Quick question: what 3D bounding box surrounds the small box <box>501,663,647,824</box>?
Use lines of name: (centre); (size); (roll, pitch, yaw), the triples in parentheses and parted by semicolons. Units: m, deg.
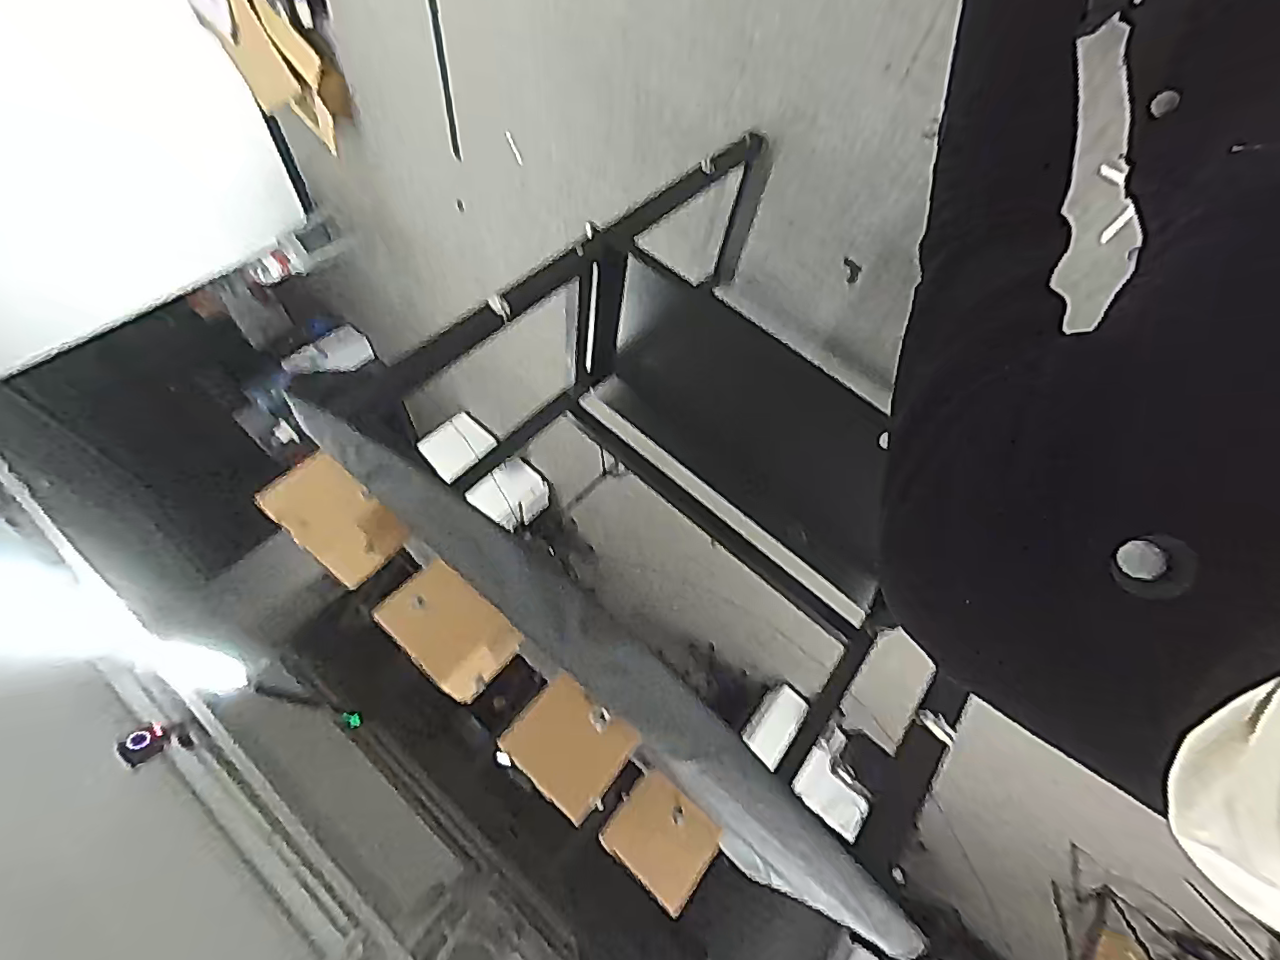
small box: (-0.104, 0.437, 0.910); (0.168, 0.176, 0.179); (36, 154, 16)

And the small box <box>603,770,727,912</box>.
small box: (0.047, 0.722, 1.107); (0.179, 0.176, 0.168); (39, 153, 14)

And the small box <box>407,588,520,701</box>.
small box: (-0.395, 0.374, 1.240); (0.168, 0.176, 0.179); (38, 153, 13)

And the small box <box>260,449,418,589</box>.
small box: (-0.561, 0.073, 1.033); (0.168, 0.176, 0.179); (37, 154, 14)
